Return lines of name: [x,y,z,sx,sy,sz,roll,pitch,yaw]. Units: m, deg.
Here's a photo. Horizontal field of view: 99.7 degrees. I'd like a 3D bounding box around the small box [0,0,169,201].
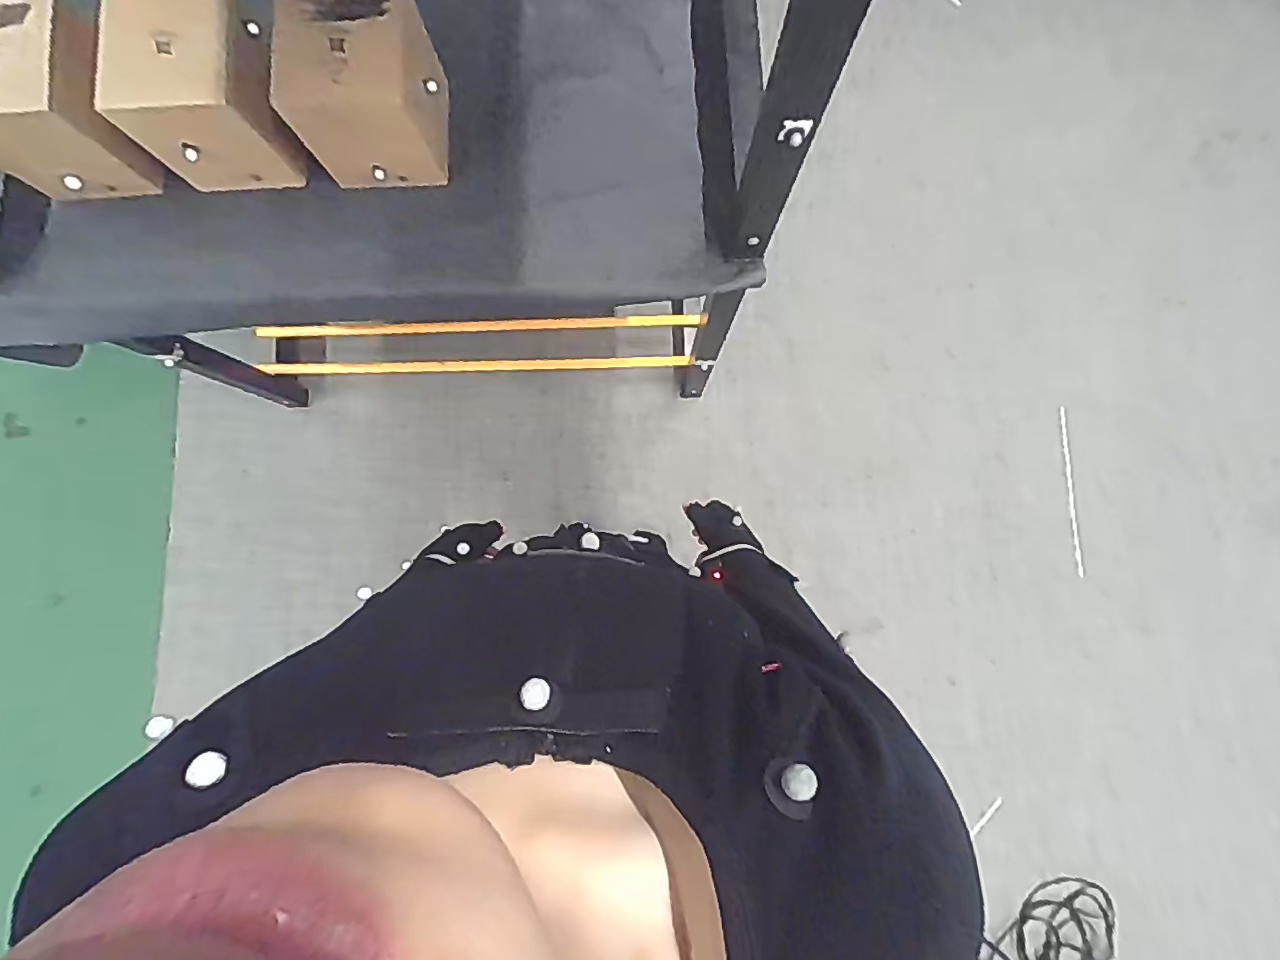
small box: [-0.814,-0.527,0.761,0.168,0.176,0.179,-4,84,0]
